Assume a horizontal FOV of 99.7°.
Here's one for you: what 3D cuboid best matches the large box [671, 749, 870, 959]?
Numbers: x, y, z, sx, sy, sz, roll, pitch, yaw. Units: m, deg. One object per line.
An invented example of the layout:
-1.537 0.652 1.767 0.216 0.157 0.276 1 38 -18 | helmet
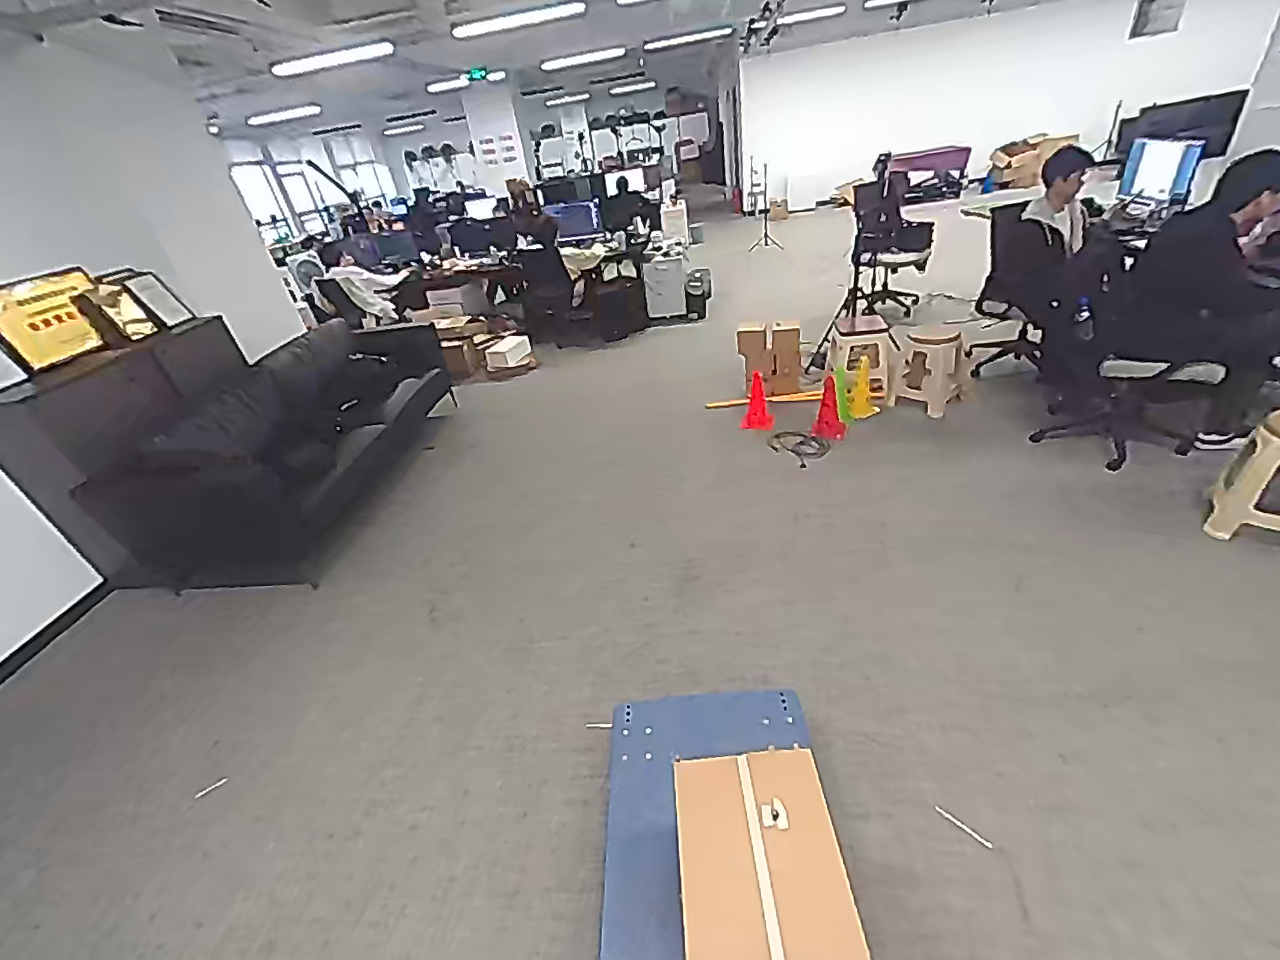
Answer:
0.249 0.853 1.133 0.320 0.320 0.408 -7 32 4 | large box
